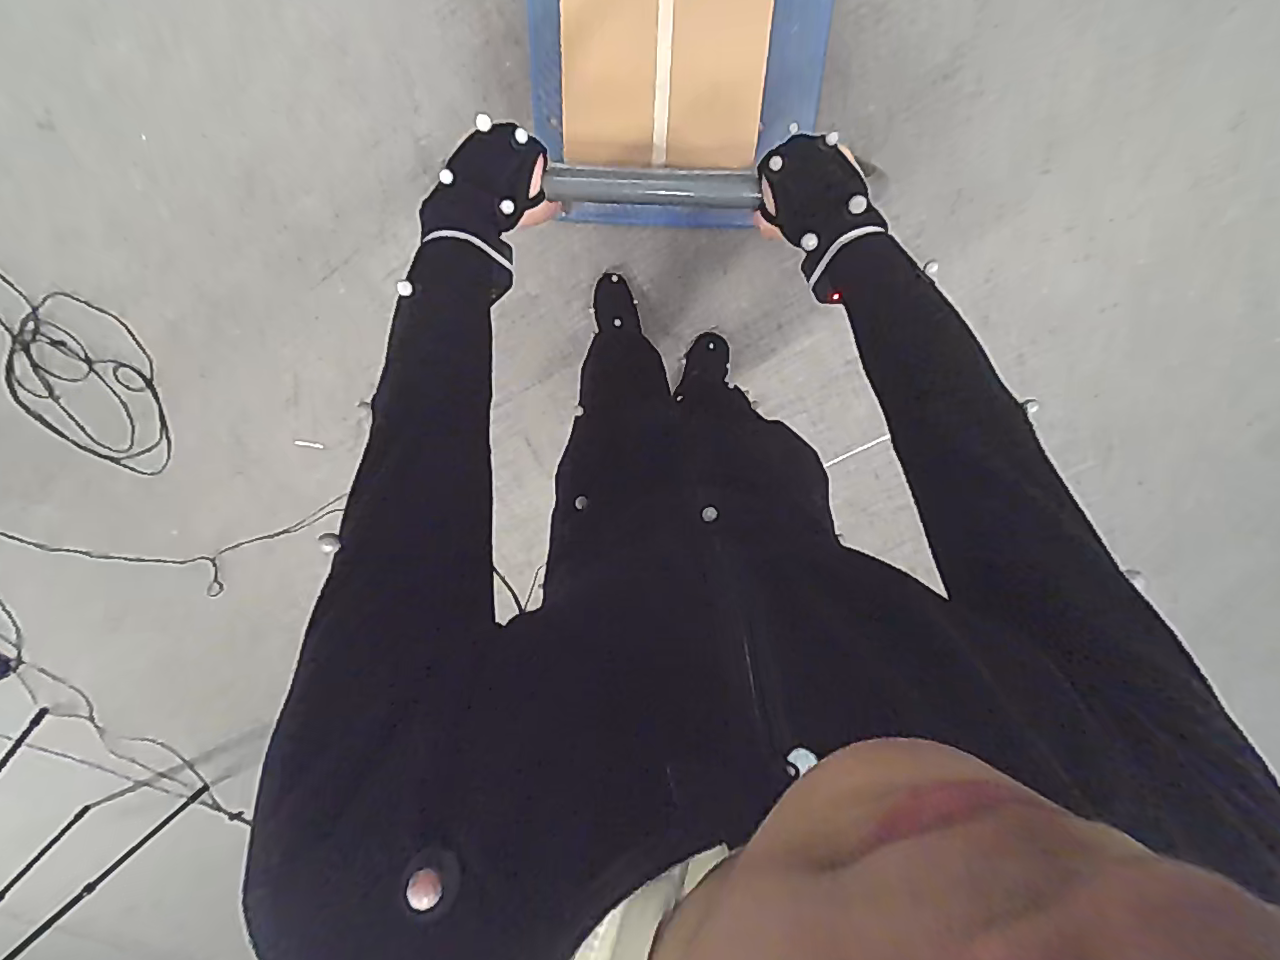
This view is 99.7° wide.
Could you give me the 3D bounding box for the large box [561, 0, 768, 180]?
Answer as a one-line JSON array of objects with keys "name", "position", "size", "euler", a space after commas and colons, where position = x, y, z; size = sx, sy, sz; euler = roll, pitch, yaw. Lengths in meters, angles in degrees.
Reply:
[{"name": "large box", "position": [0.048, -0.760, 0.946], "size": [0.320, 0.320, 0.408], "euler": [4, 117, 3]}]
